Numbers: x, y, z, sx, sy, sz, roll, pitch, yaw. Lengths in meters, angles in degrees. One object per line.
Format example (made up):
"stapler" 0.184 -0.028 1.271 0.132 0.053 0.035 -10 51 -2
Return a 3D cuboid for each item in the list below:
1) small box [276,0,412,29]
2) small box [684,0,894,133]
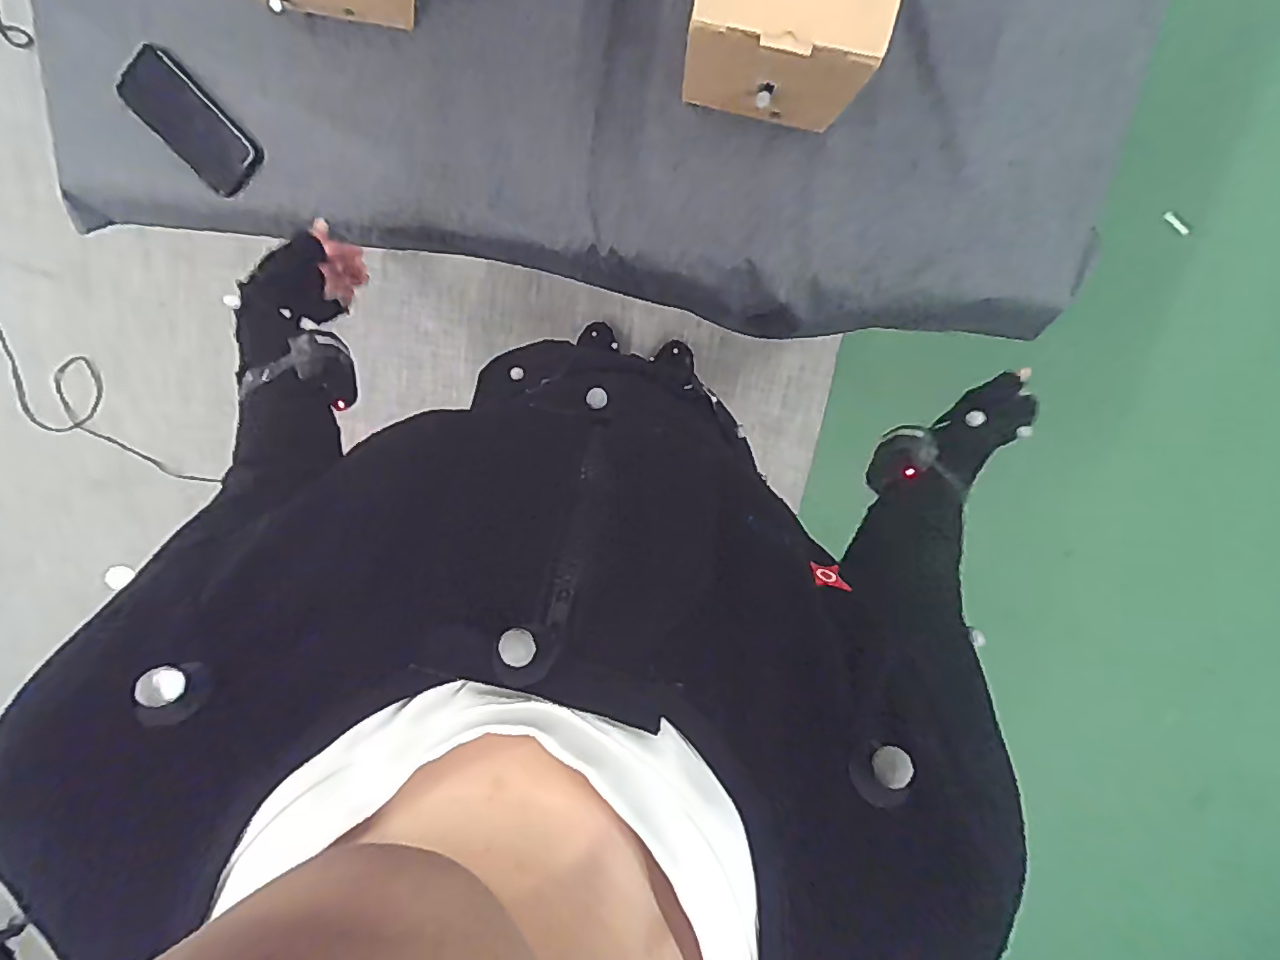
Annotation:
"small box" -0.317 -0.562 0.492 0.168 0.176 0.179 9 105 -1
"small box" 0.139 -0.458 0.505 0.168 0.176 0.179 12 106 -1
